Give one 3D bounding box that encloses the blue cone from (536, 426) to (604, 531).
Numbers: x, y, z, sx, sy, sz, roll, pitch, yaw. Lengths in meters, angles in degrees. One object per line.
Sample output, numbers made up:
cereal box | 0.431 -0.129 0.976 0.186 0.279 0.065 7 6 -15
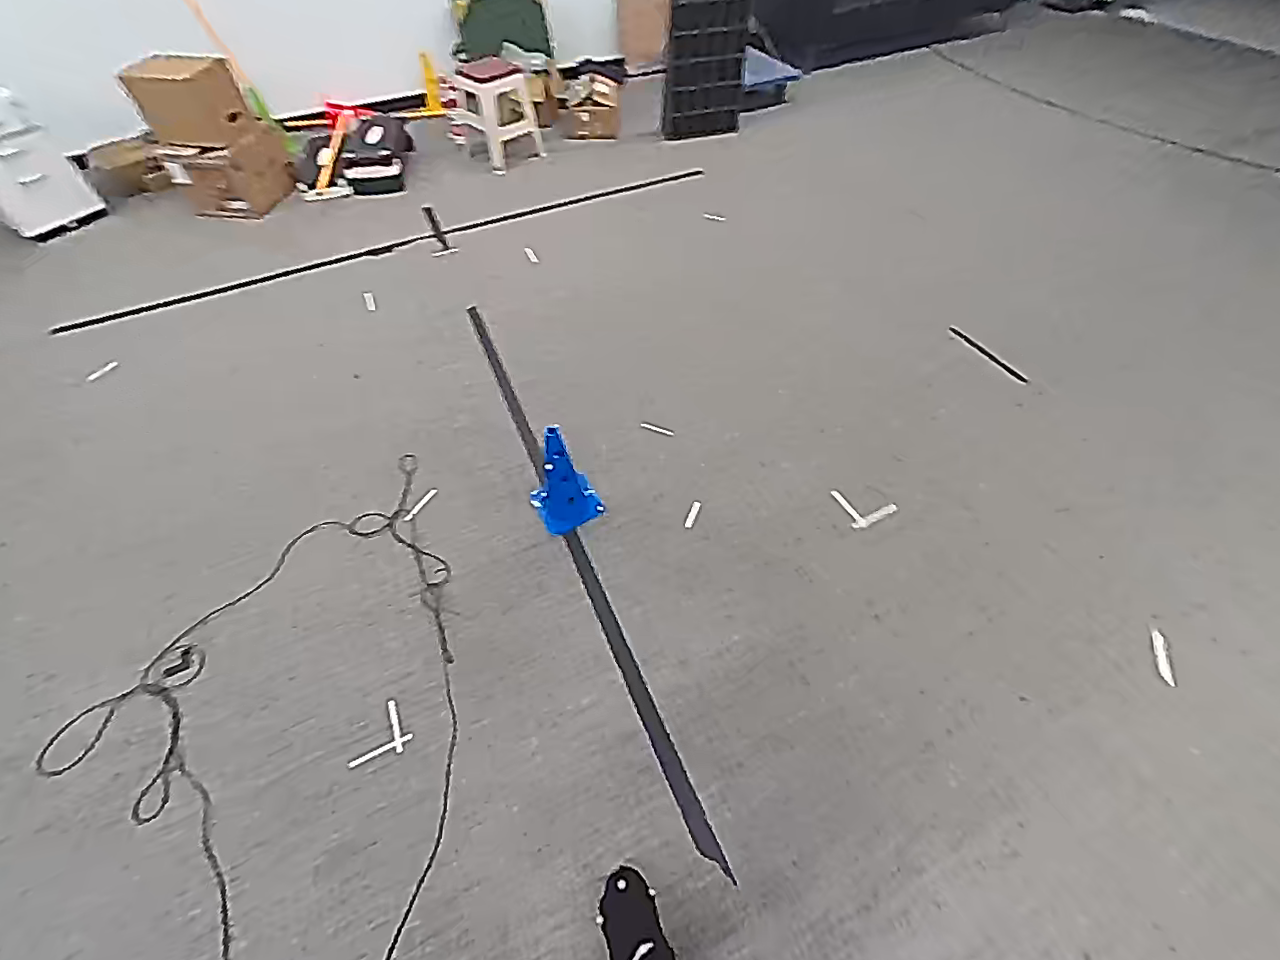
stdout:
blue cone | -0.238 -0.026 1.669 0.192 0.380 0.193 -23 56 -17
